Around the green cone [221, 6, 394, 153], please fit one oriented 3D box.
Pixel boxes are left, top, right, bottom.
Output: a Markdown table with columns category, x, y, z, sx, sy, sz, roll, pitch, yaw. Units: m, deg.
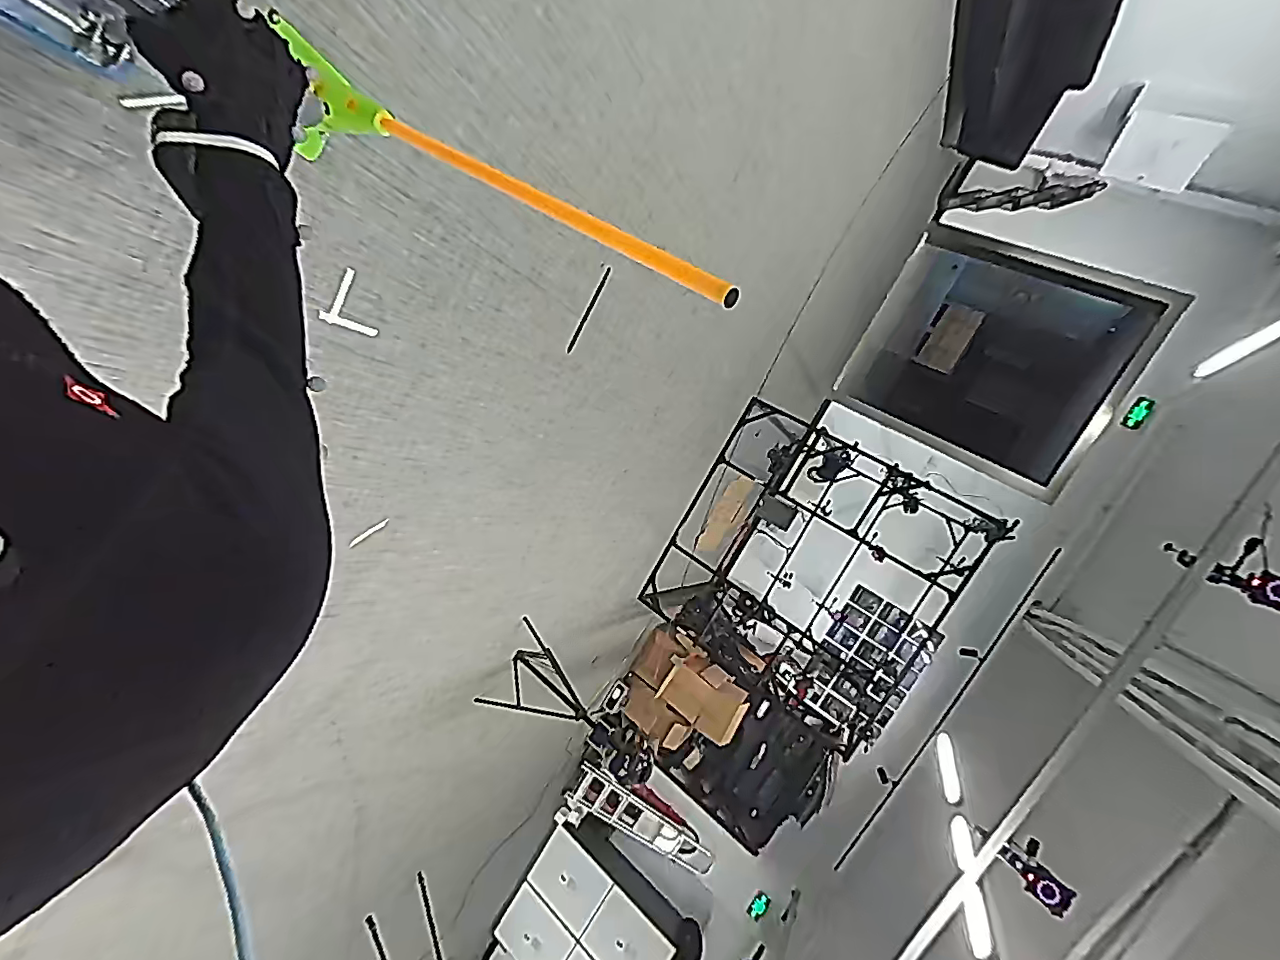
| category | x | y | z | sx | sy | sz | roll | pitch | yaw |
| --- | --- | --- | --- | --- | --- | --- | --- | --- | --- |
| green cone | -0.626 | -0.764 | 1.093 | 0.200 | 0.368 | 0.202 | -59 | 157 | 4 |
